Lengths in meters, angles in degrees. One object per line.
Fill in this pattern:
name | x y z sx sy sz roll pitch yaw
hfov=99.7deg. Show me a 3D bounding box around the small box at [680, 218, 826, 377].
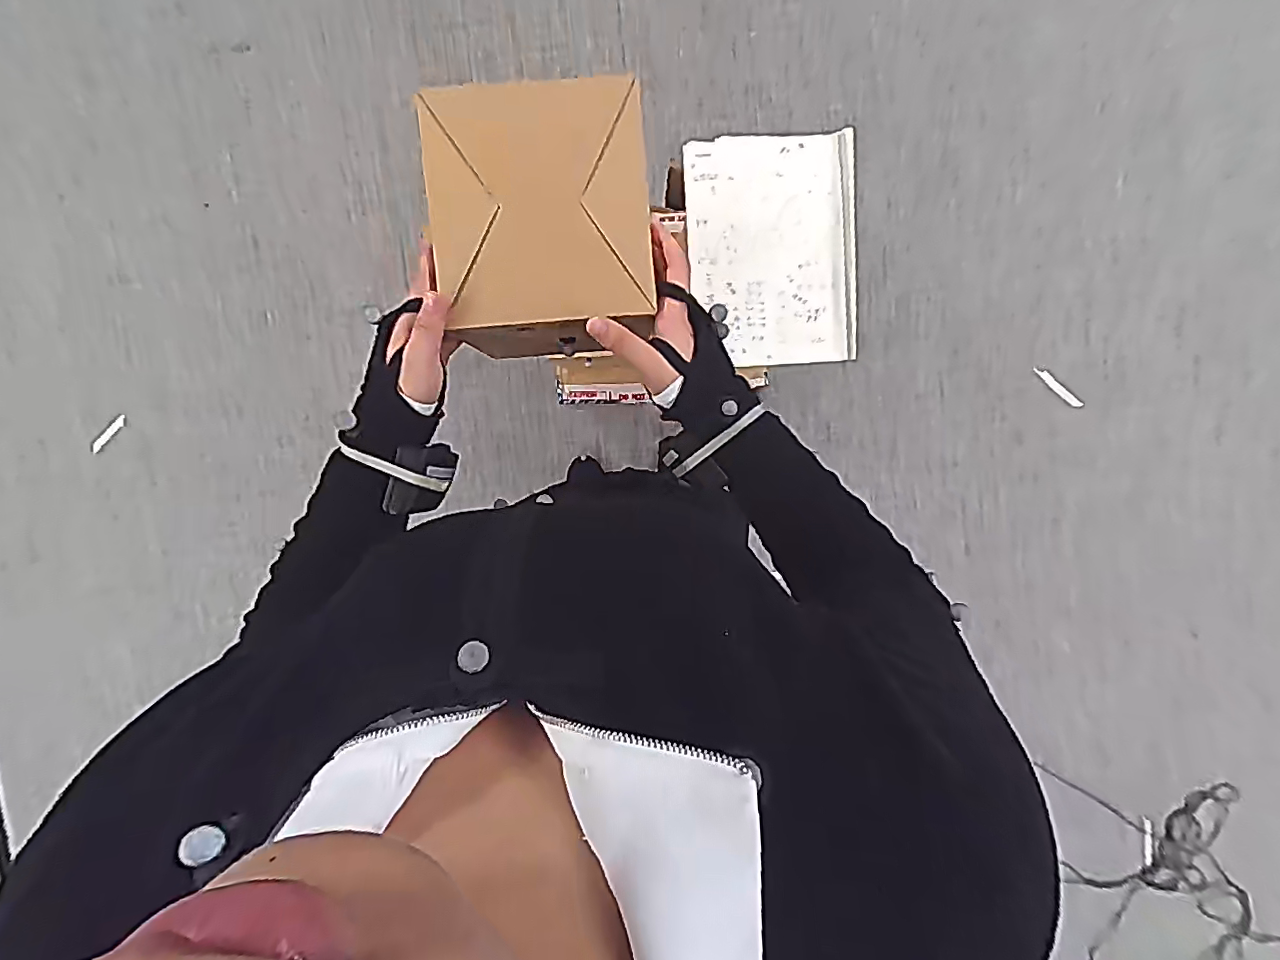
small box | 0.147 -0.241 0.751 0.168 0.176 0.179 -3 96 -2
